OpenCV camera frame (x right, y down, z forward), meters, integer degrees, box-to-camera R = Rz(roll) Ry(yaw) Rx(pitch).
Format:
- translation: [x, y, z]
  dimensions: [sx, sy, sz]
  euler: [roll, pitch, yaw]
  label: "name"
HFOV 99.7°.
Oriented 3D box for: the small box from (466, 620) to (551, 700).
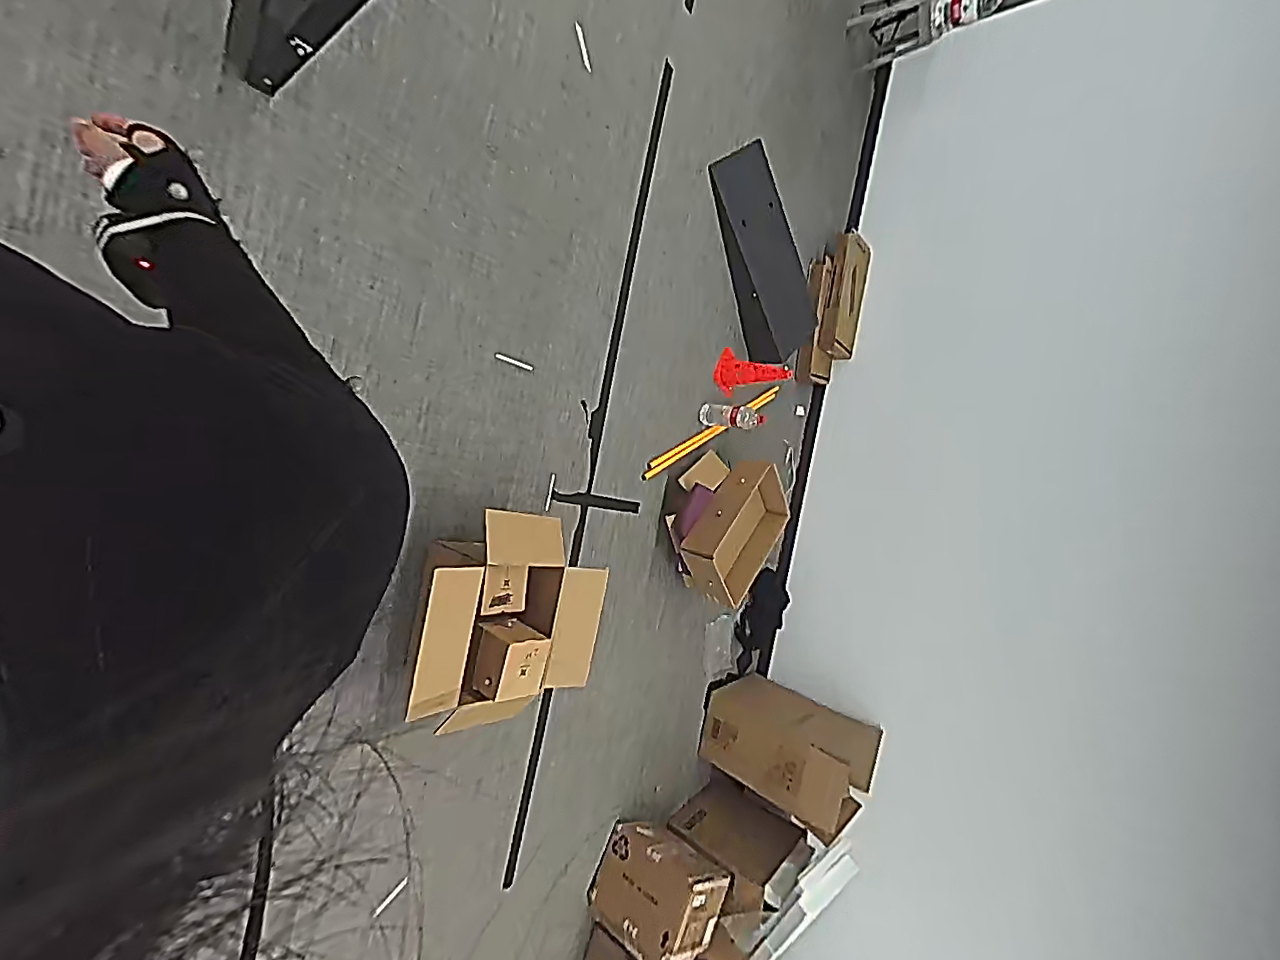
- translation: [-0.402, 0.538, 1.637]
  dimensions: [0.168, 0.176, 0.179]
  euler: [14, 89, -52]
  label: "small box"
